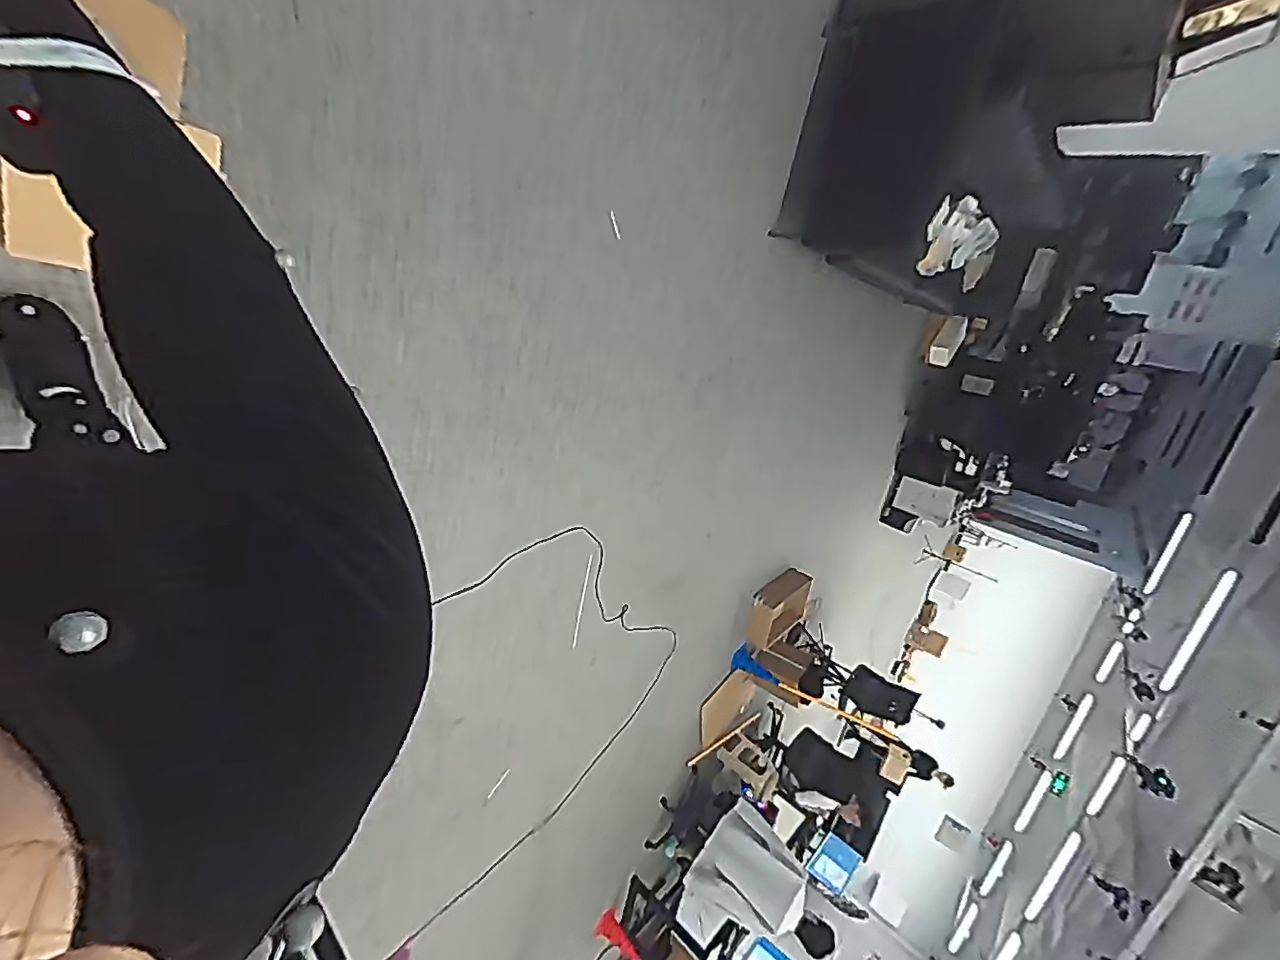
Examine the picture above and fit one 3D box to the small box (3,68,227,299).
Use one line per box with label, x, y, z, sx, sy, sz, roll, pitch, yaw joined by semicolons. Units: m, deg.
small box;-0.599;-0.324;0.619;0.168;0.176;0.179;-4;113;-50
